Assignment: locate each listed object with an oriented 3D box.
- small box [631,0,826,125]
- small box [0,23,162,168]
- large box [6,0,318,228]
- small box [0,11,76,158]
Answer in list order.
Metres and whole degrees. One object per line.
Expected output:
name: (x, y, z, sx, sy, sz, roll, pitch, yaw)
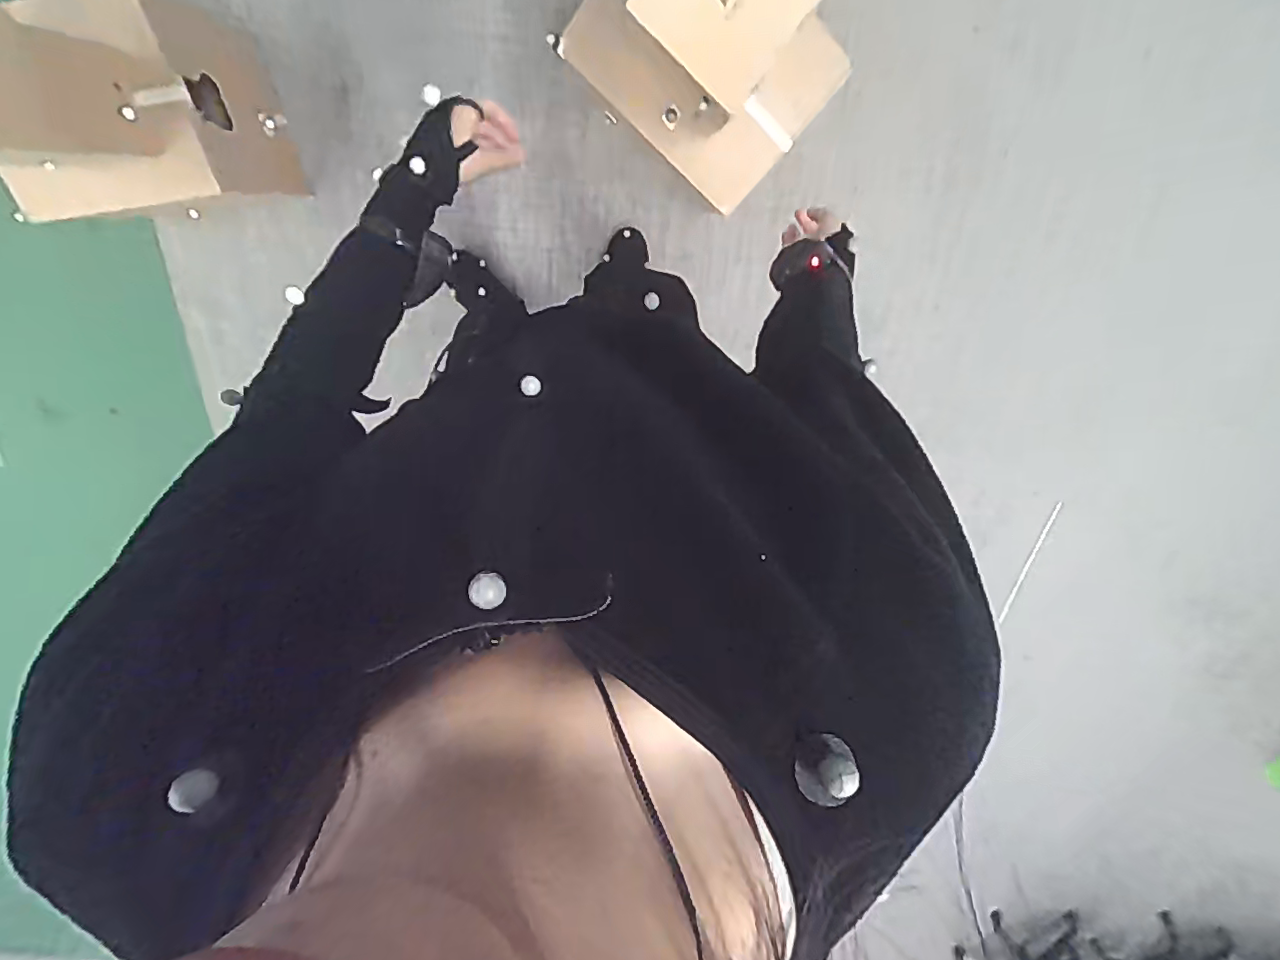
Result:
small box: (0.104, -0.587, 0.686, 0.179, 0.176, 0.168, 35, 113, -17)
small box: (-0.954, -0.610, 0.878, 0.179, 0.176, 0.168, -4, 118, 2)
large box: (-0.977, -0.717, 1.099, 0.408, 0.320, 0.320, -6, 116, 5)
small box: (-0.947, -0.539, 0.730, 0.168, 0.176, 0.179, -2, 118, 2)
